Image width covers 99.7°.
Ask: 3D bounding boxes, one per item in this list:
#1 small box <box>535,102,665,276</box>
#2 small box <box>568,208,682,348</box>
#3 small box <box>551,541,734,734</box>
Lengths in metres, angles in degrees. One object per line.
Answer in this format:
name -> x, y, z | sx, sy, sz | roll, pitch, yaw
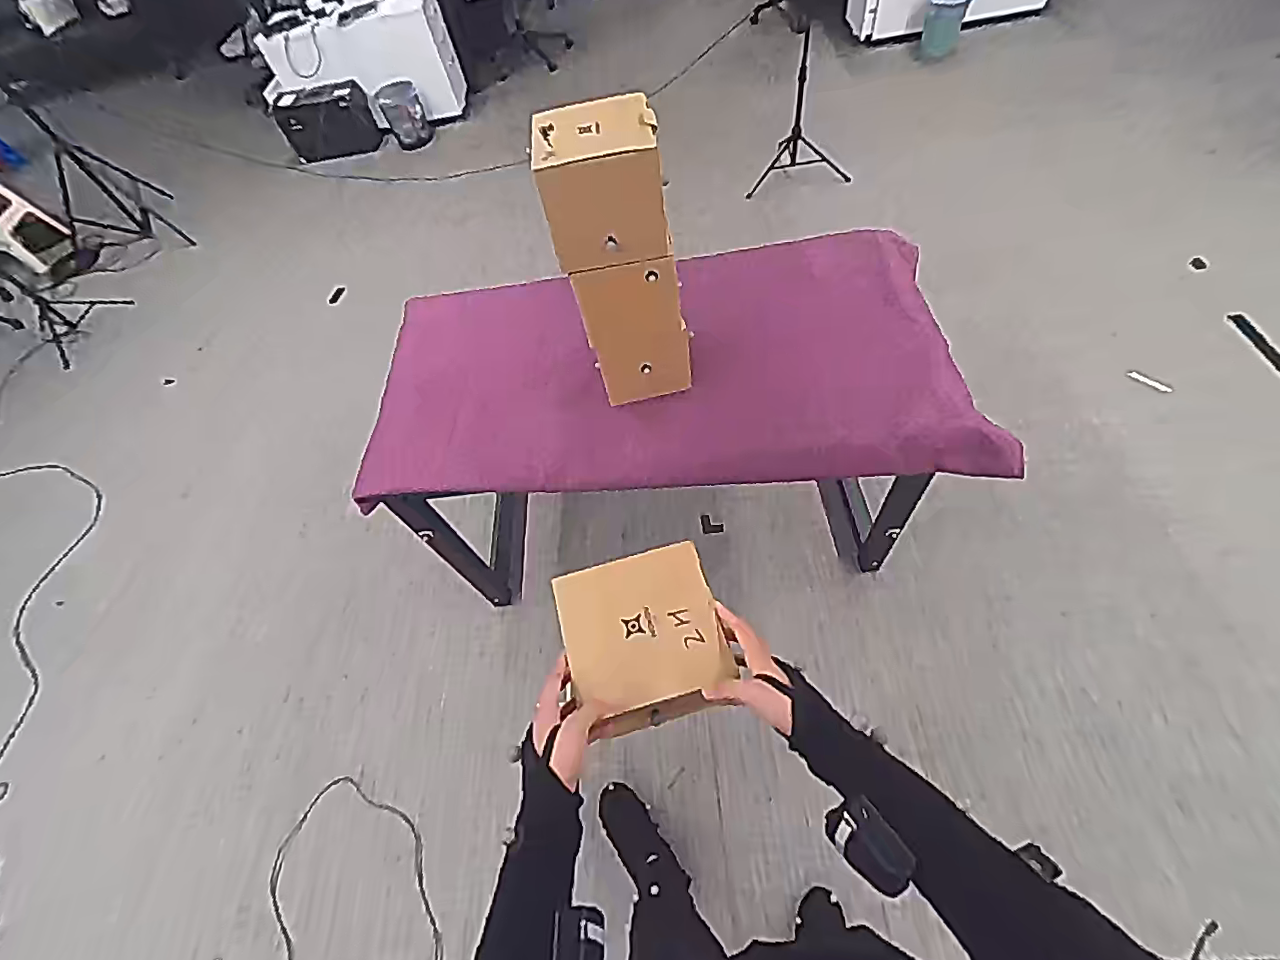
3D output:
small box -> -0.055, -0.444, 0.836 | 0.179, 0.176, 0.168 | -8, 56, 3
small box -> -0.025, -0.359, 0.974 | 0.179, 0.176, 0.168 | -9, 57, 3
small box -> 0.003, 0.201, 0.669 | 0.179, 0.176, 0.168 | -14, 60, -5
